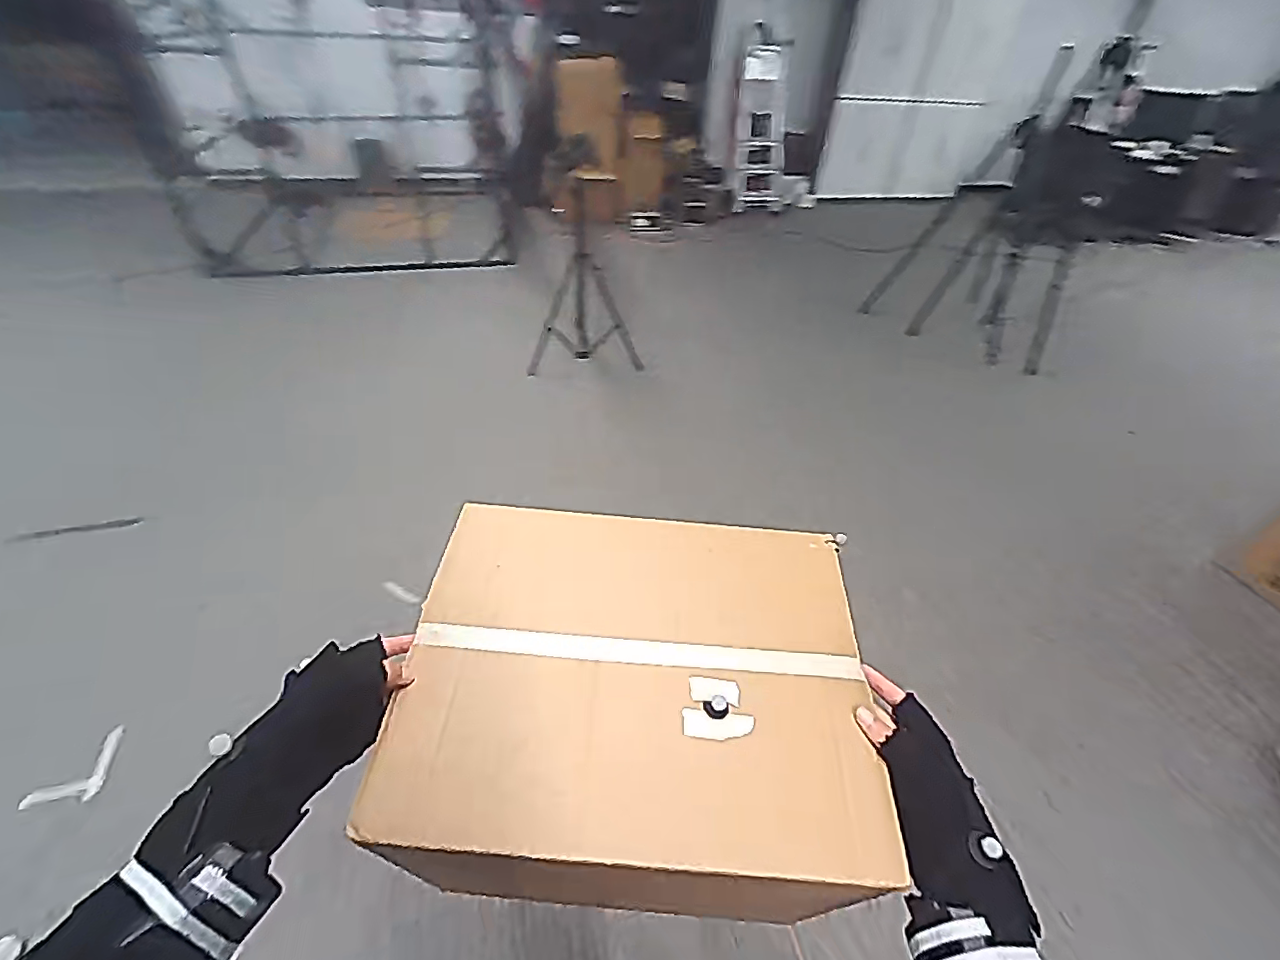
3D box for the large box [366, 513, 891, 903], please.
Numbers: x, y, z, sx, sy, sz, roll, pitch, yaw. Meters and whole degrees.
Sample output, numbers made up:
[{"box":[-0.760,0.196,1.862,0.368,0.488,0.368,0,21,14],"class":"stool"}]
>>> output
[{"box":[-0.013,0.261,0.610,0.408,0.320,0.320,5,48,-1],"class":"large box"}]
